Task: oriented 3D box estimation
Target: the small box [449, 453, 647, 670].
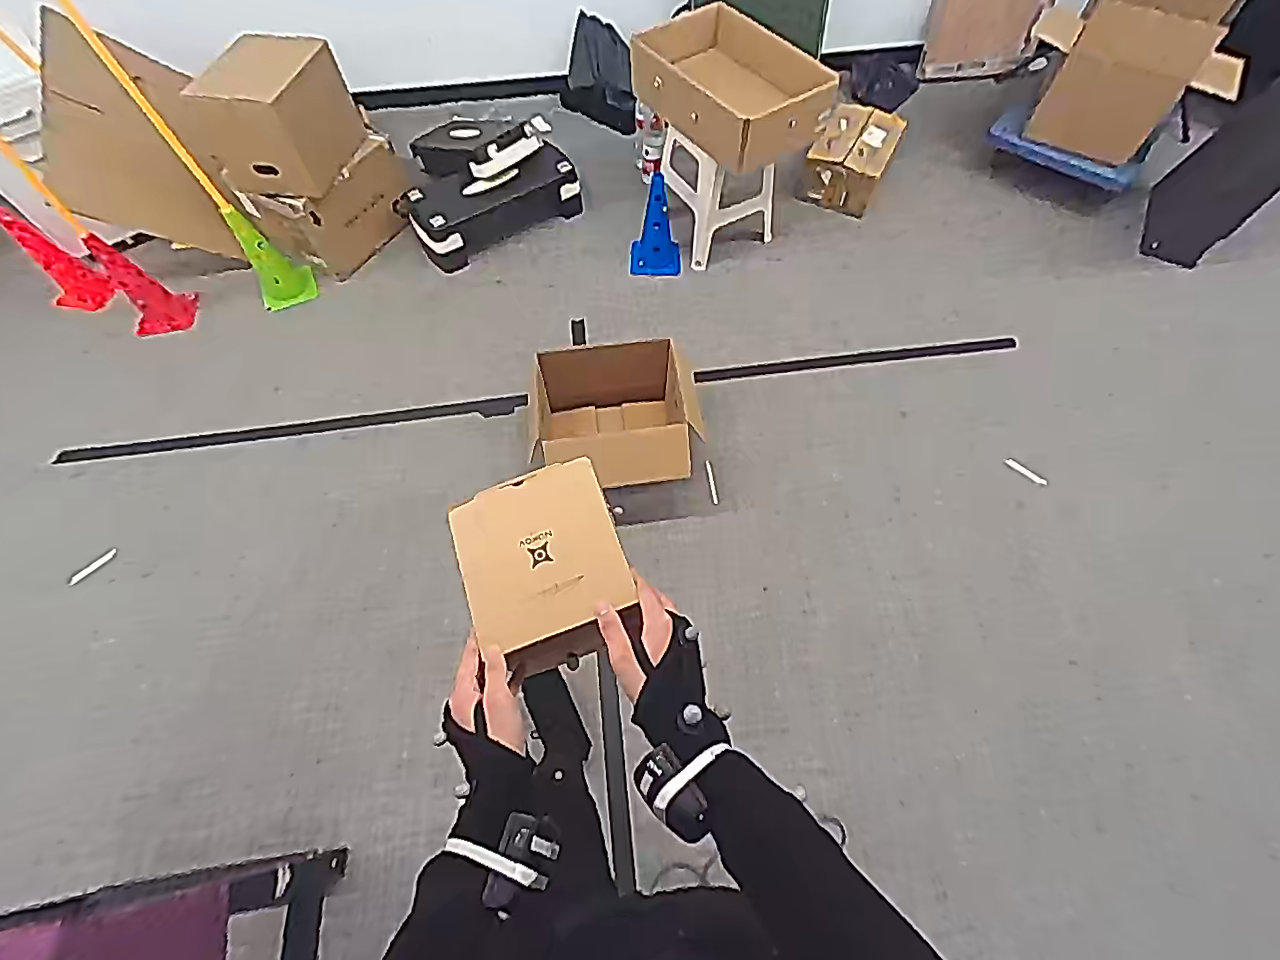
[{"bbox_3d":[-0.098,0.101,0.627,0.168,0.176,0.179,-20,65,-3],"label":"small box"}]
